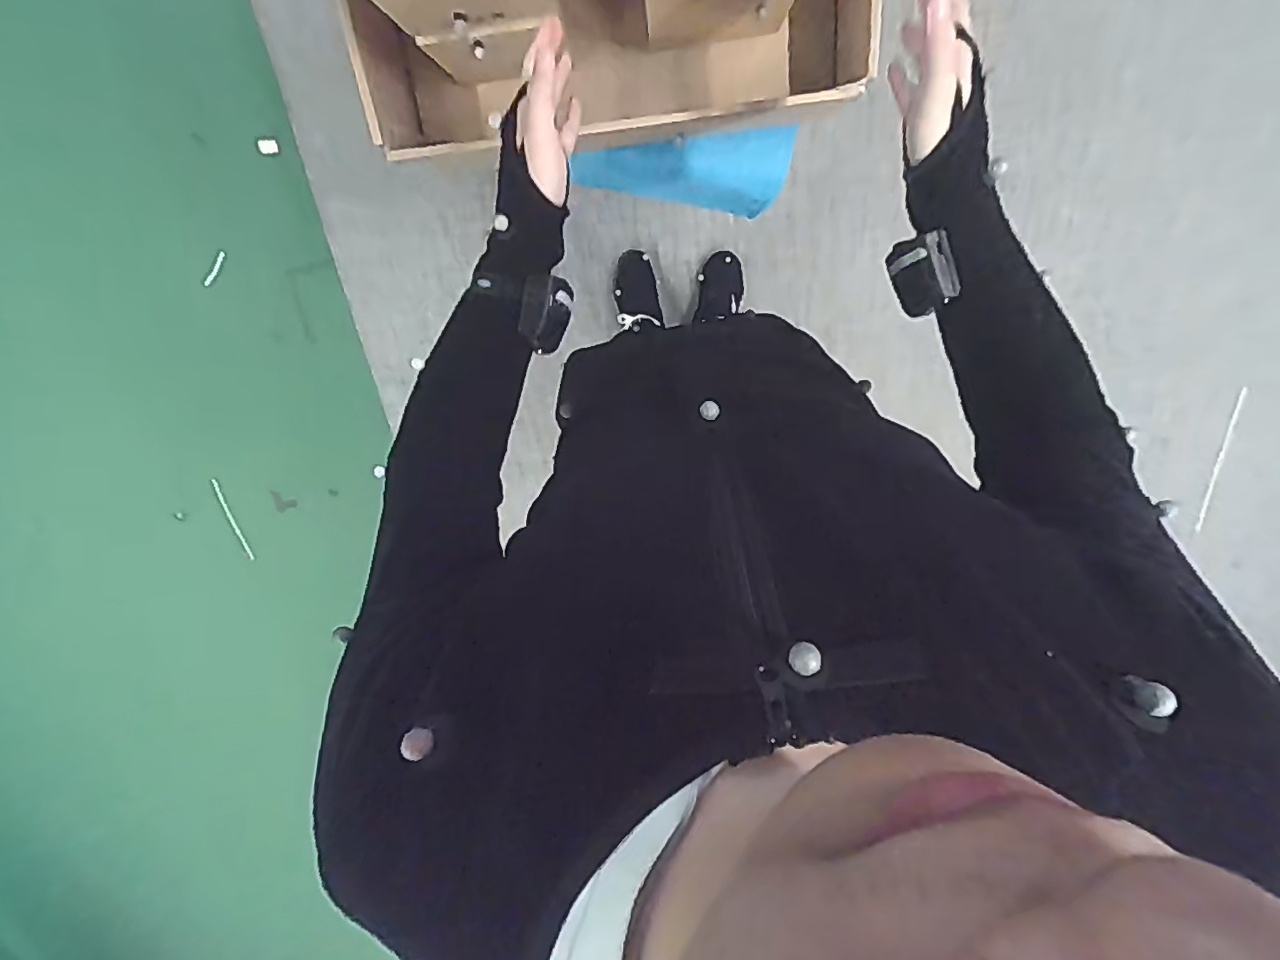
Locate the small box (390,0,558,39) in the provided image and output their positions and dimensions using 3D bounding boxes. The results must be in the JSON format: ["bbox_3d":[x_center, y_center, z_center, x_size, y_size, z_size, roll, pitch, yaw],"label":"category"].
[{"bbox_3d":[-0.179,-0.547,0.493,0.168,0.176,0.179,-6,113,4],"label":"small box"}]

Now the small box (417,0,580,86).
[{"bbox_3d":[-0.172,-0.606,0.644,0.168,0.176,0.179,-5,112,4],"label":"small box"}]
